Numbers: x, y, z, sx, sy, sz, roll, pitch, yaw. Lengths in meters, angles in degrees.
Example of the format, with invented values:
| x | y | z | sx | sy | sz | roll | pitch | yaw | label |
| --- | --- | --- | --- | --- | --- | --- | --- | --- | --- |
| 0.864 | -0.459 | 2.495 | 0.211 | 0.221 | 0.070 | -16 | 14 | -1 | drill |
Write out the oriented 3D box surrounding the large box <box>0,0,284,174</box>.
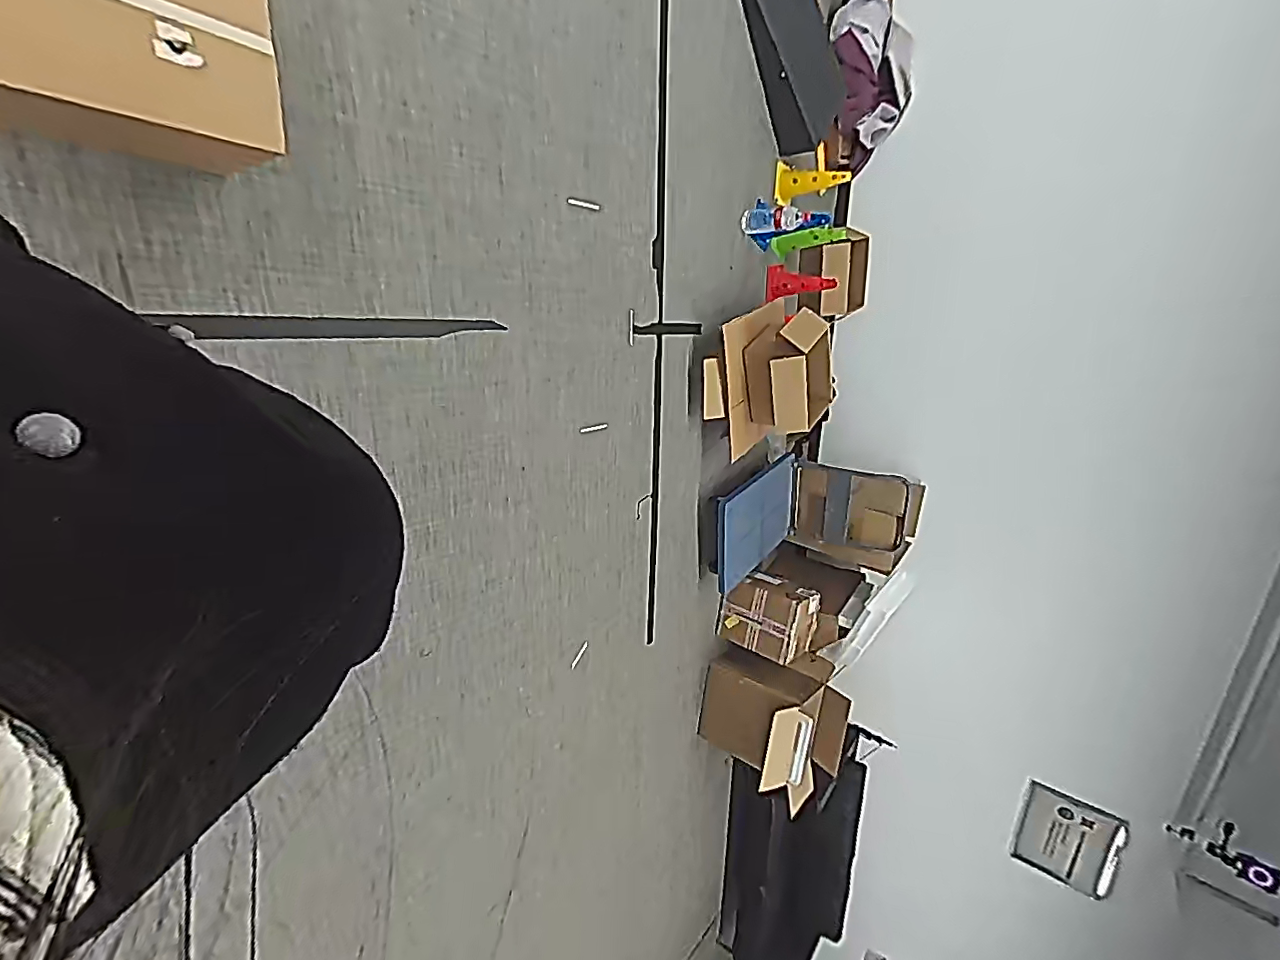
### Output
| x | y | z | sx | sy | sz | roll | pitch | yaw | label |
| --- | --- | --- | --- | --- | --- | --- | --- | --- | --- |
| -0.861 | -0.715 | 0.847 | 0.408 | 0.320 | 0.320 | -17 | 115 | -50 | large box |
